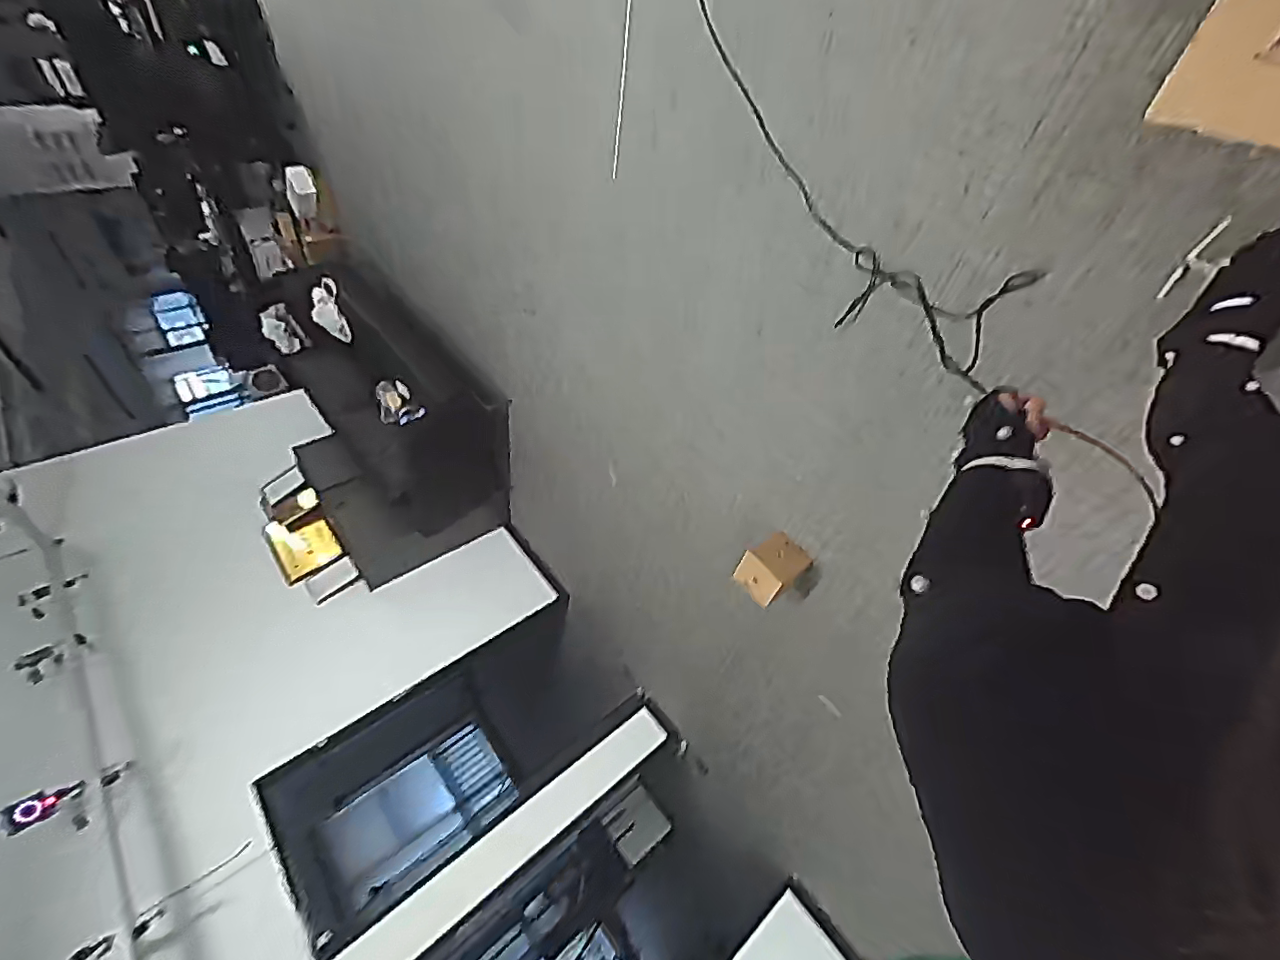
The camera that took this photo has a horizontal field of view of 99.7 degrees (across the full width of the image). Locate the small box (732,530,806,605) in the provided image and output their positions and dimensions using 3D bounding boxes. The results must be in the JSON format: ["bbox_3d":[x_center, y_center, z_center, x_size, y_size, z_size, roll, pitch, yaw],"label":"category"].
[{"bbox_3d":[0.466,0.309,1.940,0.168,0.176,0.179,47,144,26],"label":"small box"}]
